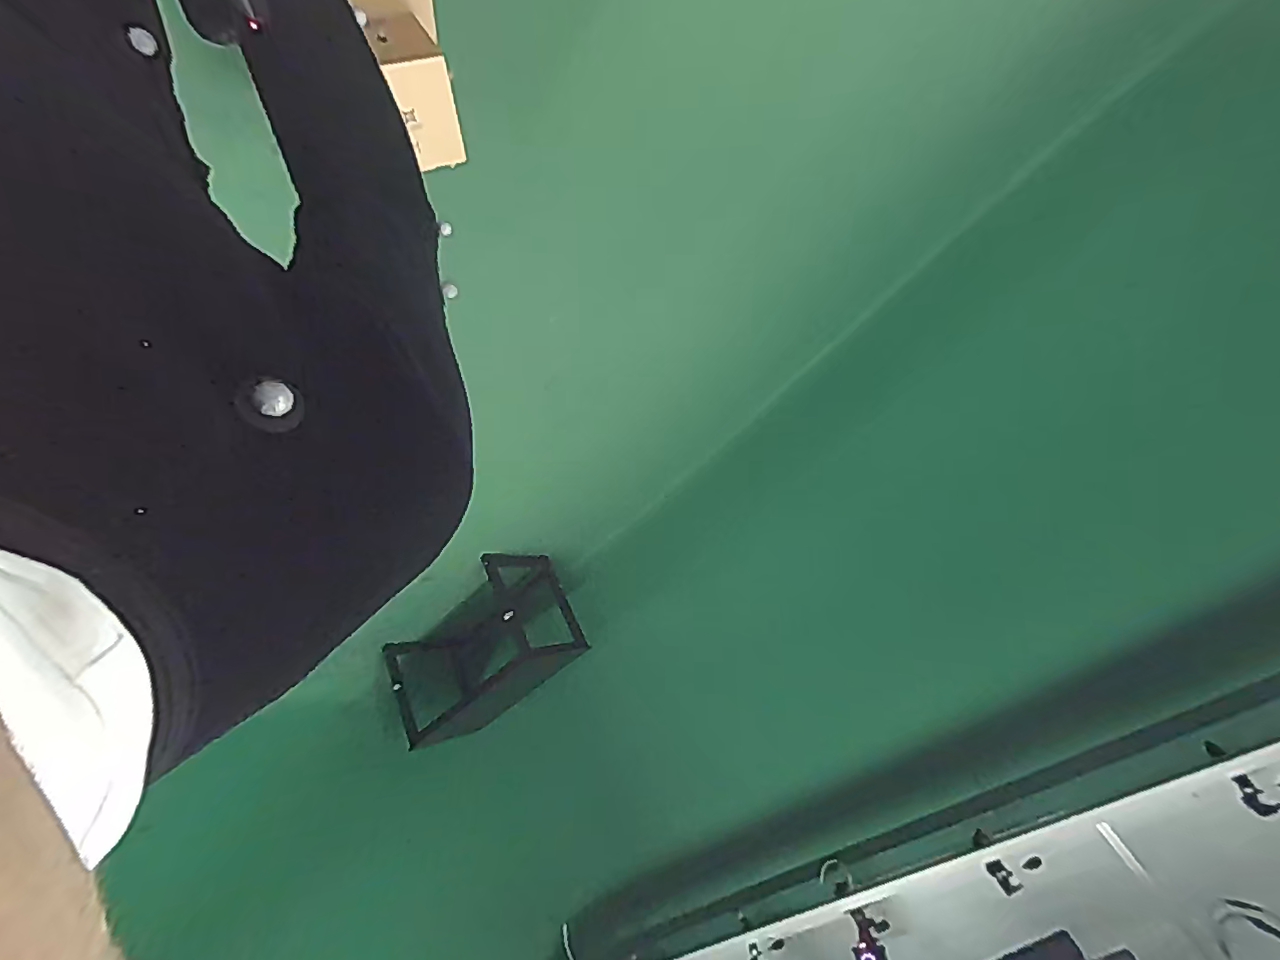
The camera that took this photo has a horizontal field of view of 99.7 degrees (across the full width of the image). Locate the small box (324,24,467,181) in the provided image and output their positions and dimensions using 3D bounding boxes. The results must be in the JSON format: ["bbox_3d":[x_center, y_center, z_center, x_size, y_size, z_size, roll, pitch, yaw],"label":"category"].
[{"bbox_3d":[-0.434,-0.680,0.968,0.168,0.176,0.179,-23,154,-17],"label":"small box"}]
